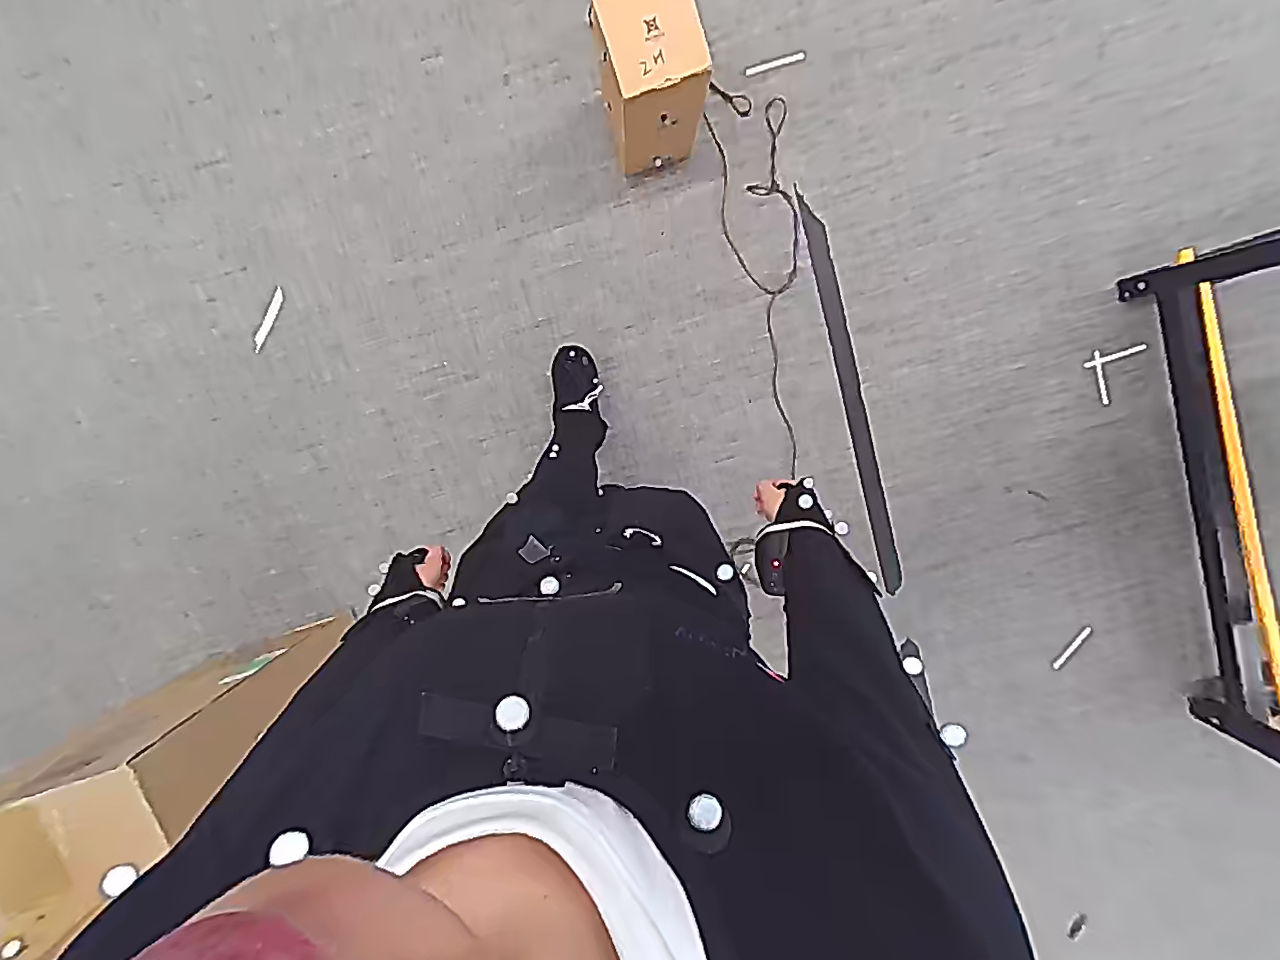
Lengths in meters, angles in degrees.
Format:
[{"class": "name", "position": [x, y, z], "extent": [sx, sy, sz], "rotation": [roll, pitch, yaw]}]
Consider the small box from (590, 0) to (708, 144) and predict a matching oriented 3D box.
[{"class": "small box", "position": [0.014, -0.773, 1.005], "extent": [0.168, 0.176, 0.179], "rotation": [-18, 98, 2]}]

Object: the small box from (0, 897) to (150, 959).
[{"class": "small box", "position": [-0.822, 0.710, 0.728], "extent": [0.168, 0.176, 0.179], "rotation": [-18, 98, 1]}]

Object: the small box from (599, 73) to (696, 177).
[{"class": "small box", "position": [0.011, -0.795, 1.168], "extent": [0.168, 0.176, 0.179], "rotation": [-17, 99, 2]}]
